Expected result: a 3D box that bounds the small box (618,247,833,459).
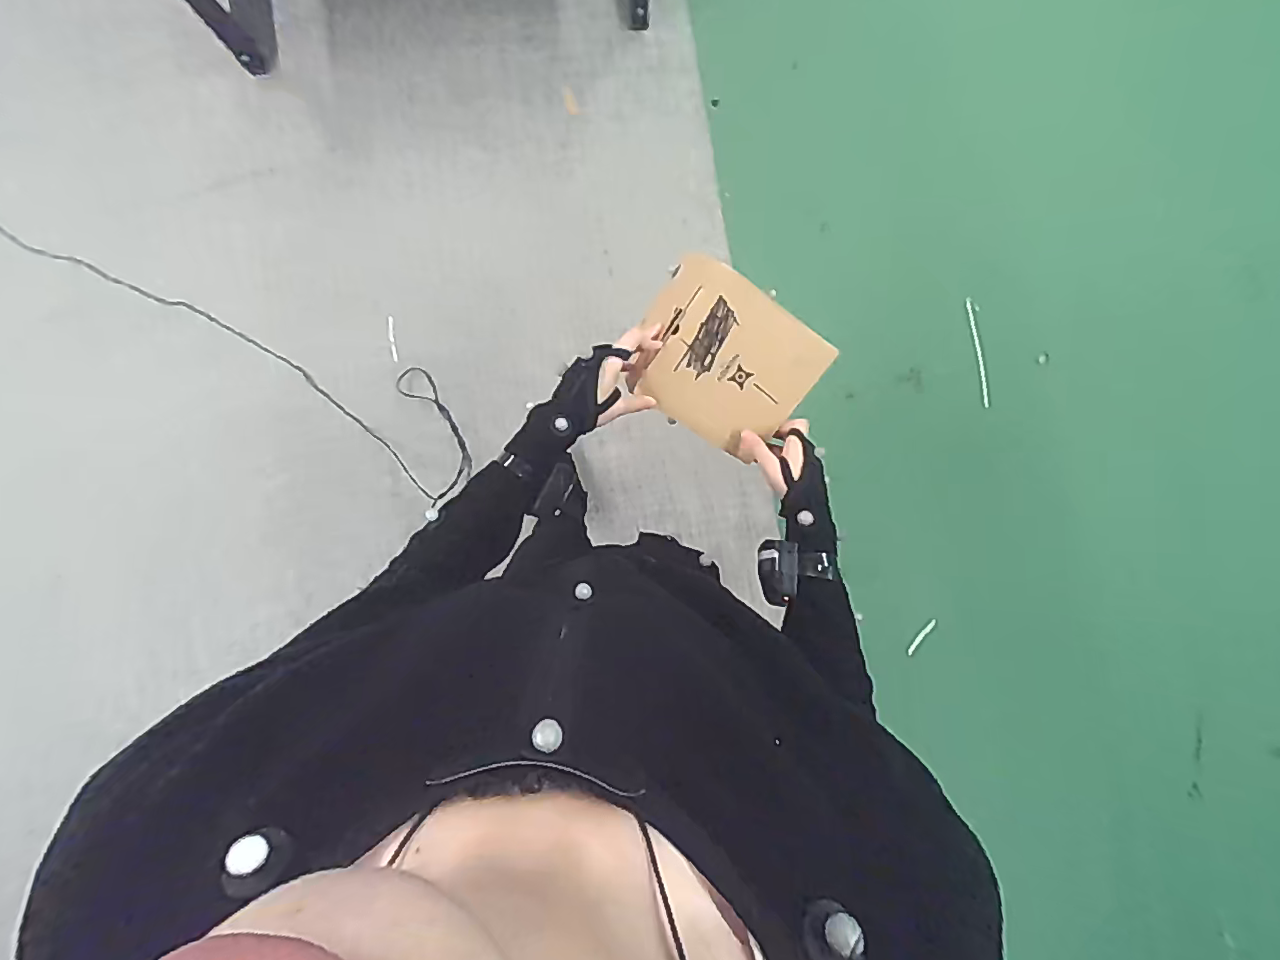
[{"bbox_3d":[0.086,-0.159,0.652,0.179,0.176,0.168,29,110,-19],"label":"small box"}]
